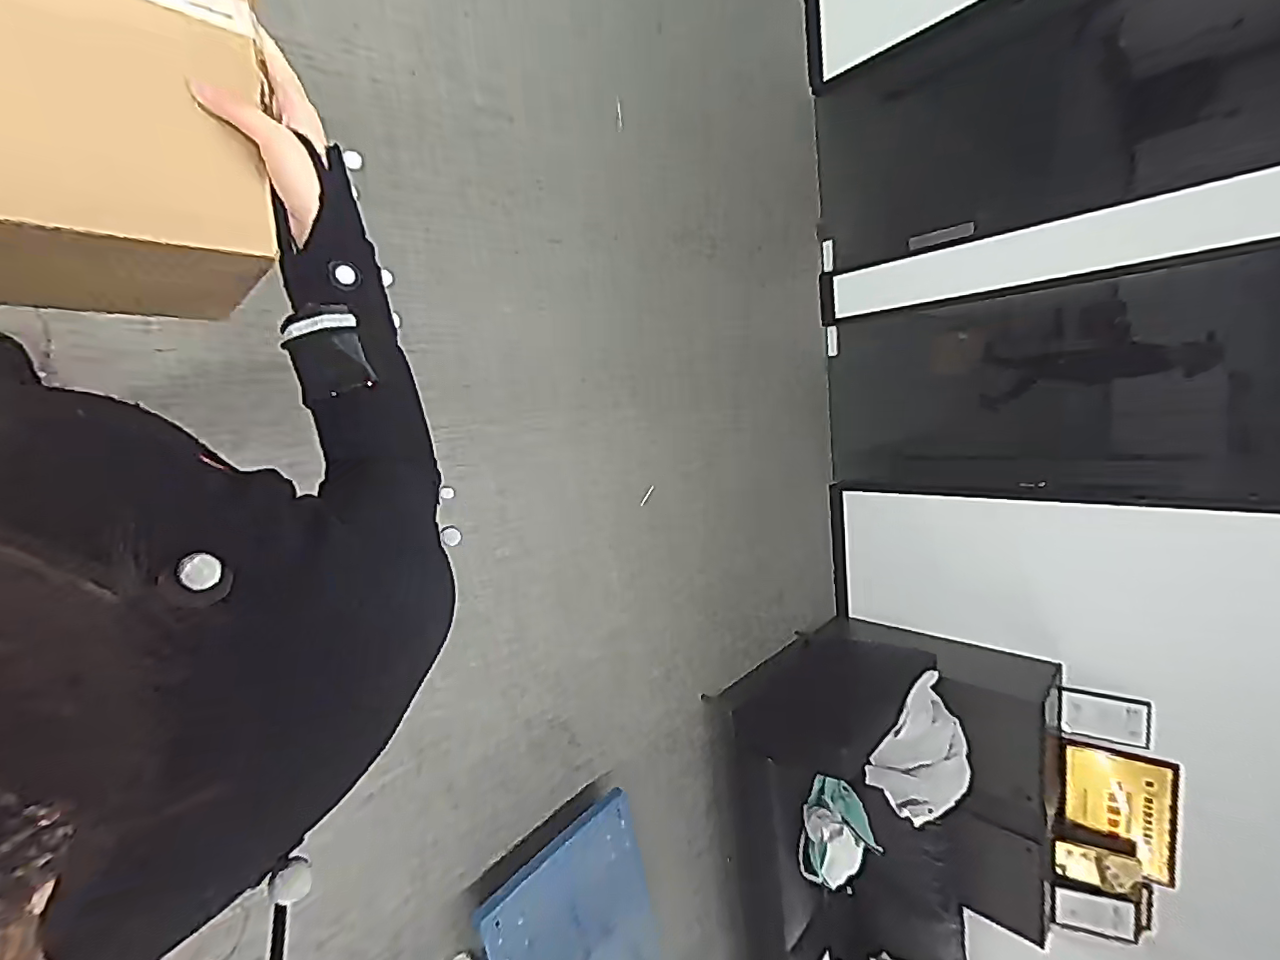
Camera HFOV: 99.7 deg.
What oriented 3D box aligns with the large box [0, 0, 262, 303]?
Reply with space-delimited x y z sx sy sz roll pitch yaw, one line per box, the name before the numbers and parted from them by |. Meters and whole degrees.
large box | -0.535 -0.311 0.364 0.408 0.320 0.320 -9 100 -41
